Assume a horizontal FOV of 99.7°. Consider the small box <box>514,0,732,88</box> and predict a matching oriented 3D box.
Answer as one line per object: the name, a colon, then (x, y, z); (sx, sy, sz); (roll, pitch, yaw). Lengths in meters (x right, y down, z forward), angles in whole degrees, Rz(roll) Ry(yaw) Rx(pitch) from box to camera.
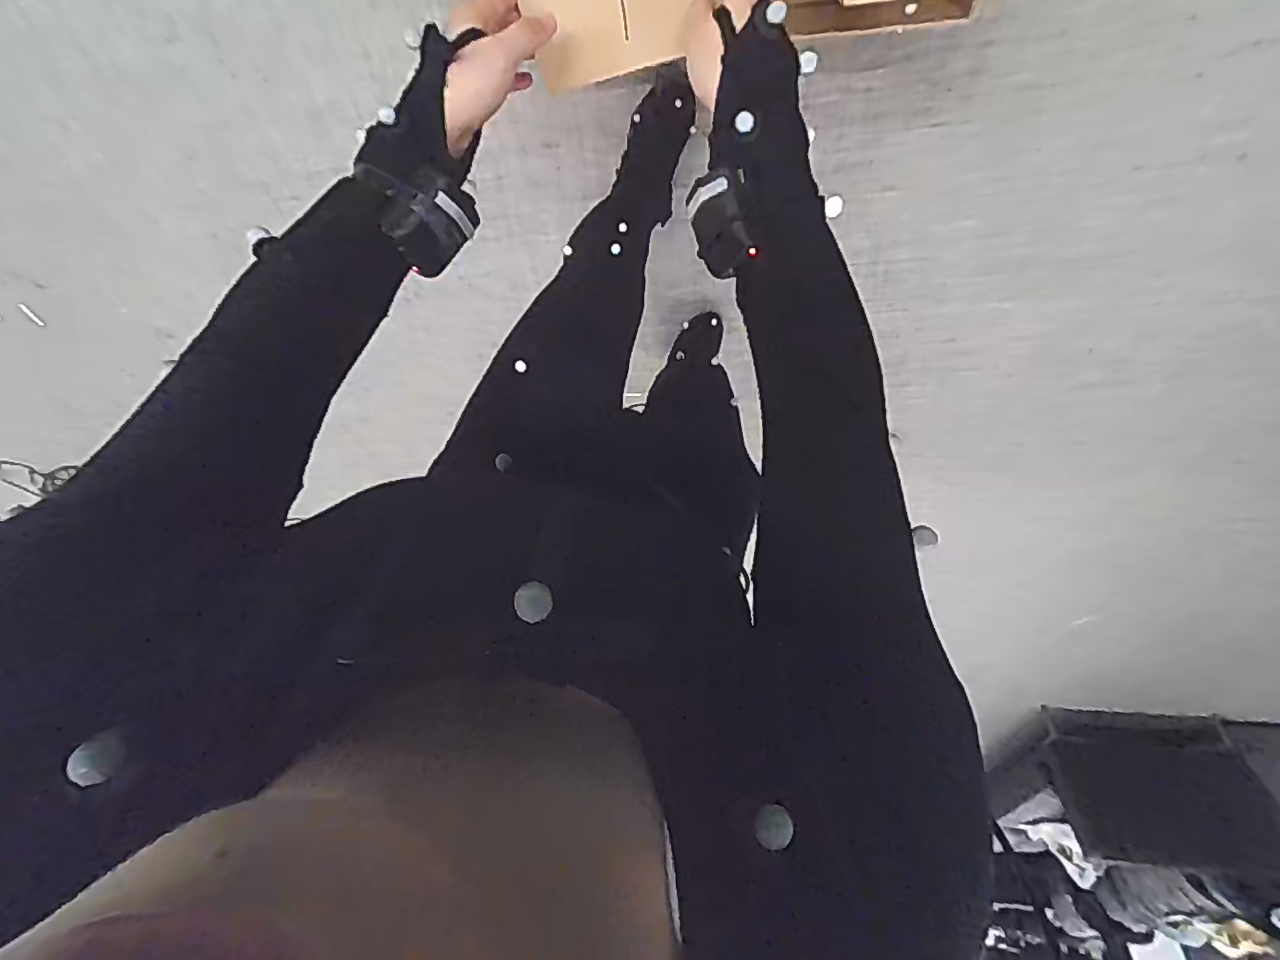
small box: (-0.020, -0.464, 0.439); (0.168, 0.176, 0.179); (-6, 139, 16)
